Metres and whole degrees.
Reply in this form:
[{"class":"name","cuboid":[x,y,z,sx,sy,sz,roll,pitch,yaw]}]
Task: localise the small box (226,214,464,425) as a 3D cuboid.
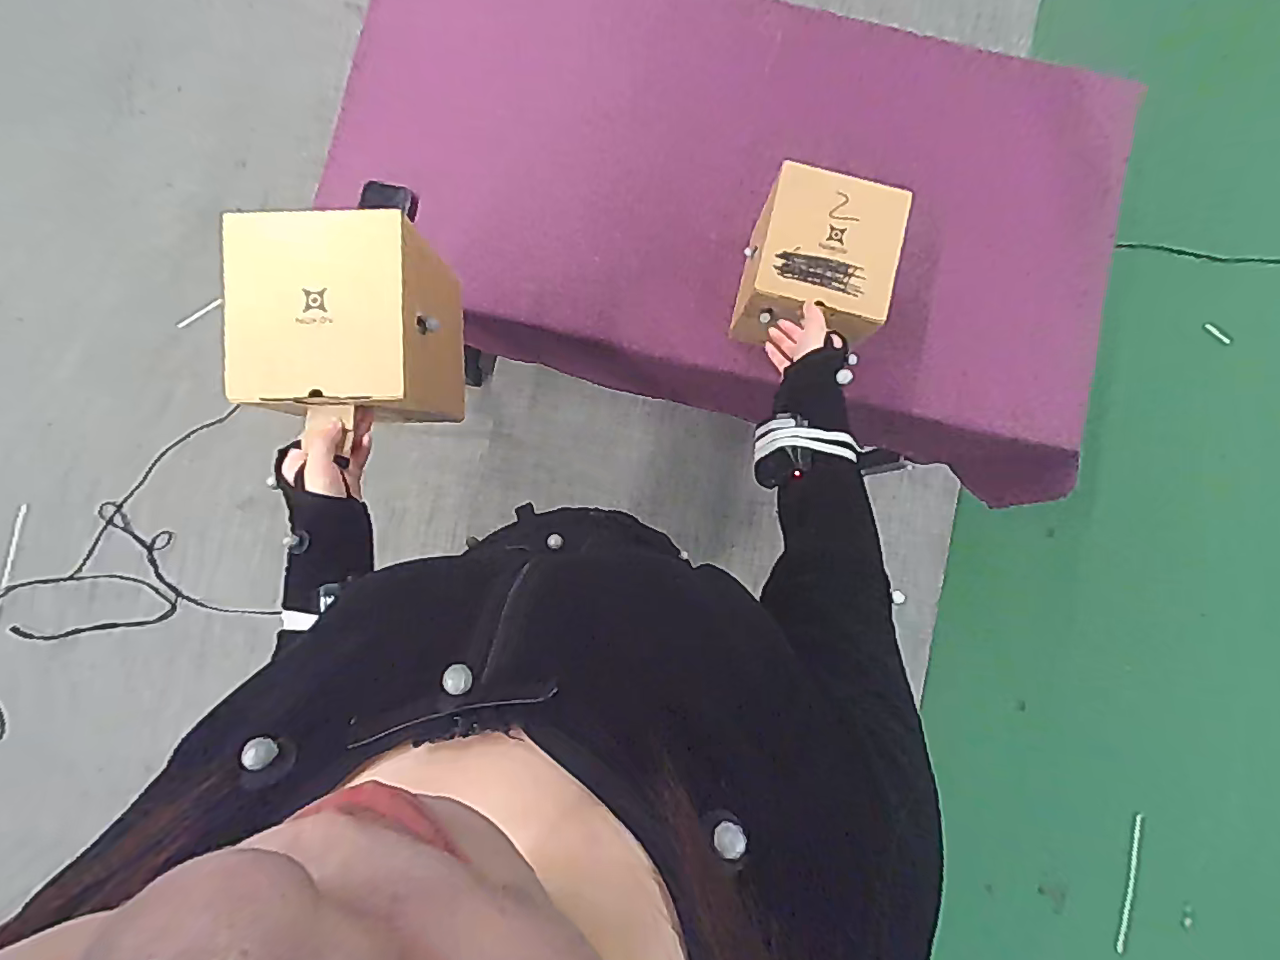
[{"class":"small box","cuboid":[-0.294,-0.155,0.573,0.168,0.176,0.179,-1,90,0]}]
